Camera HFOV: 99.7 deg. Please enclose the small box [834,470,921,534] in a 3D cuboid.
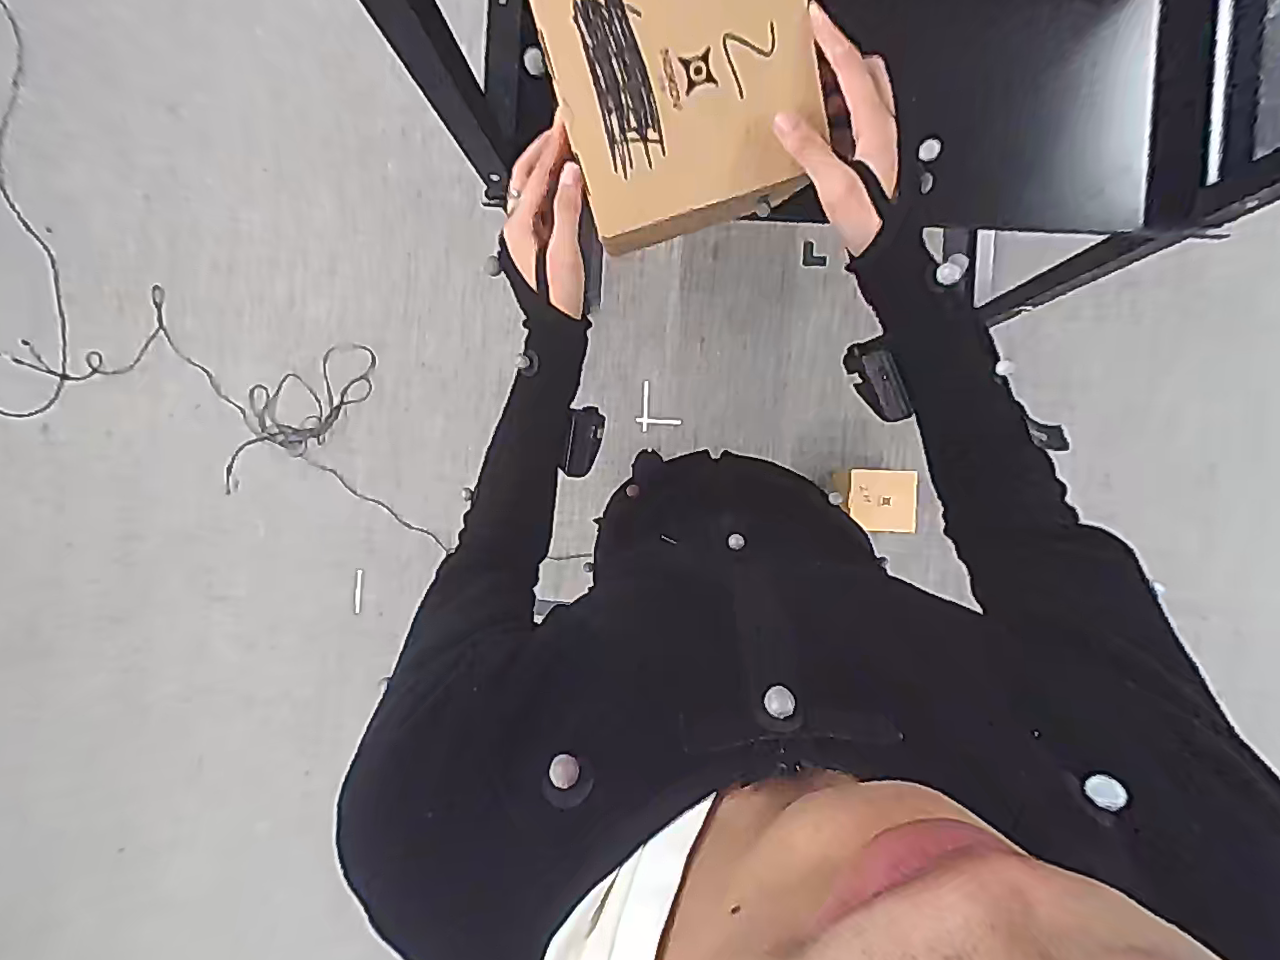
[{"bbox_3d":[0.661,0.057,1.516,0.179,0.176,0.168,2,91,5],"label":"small box"}]
